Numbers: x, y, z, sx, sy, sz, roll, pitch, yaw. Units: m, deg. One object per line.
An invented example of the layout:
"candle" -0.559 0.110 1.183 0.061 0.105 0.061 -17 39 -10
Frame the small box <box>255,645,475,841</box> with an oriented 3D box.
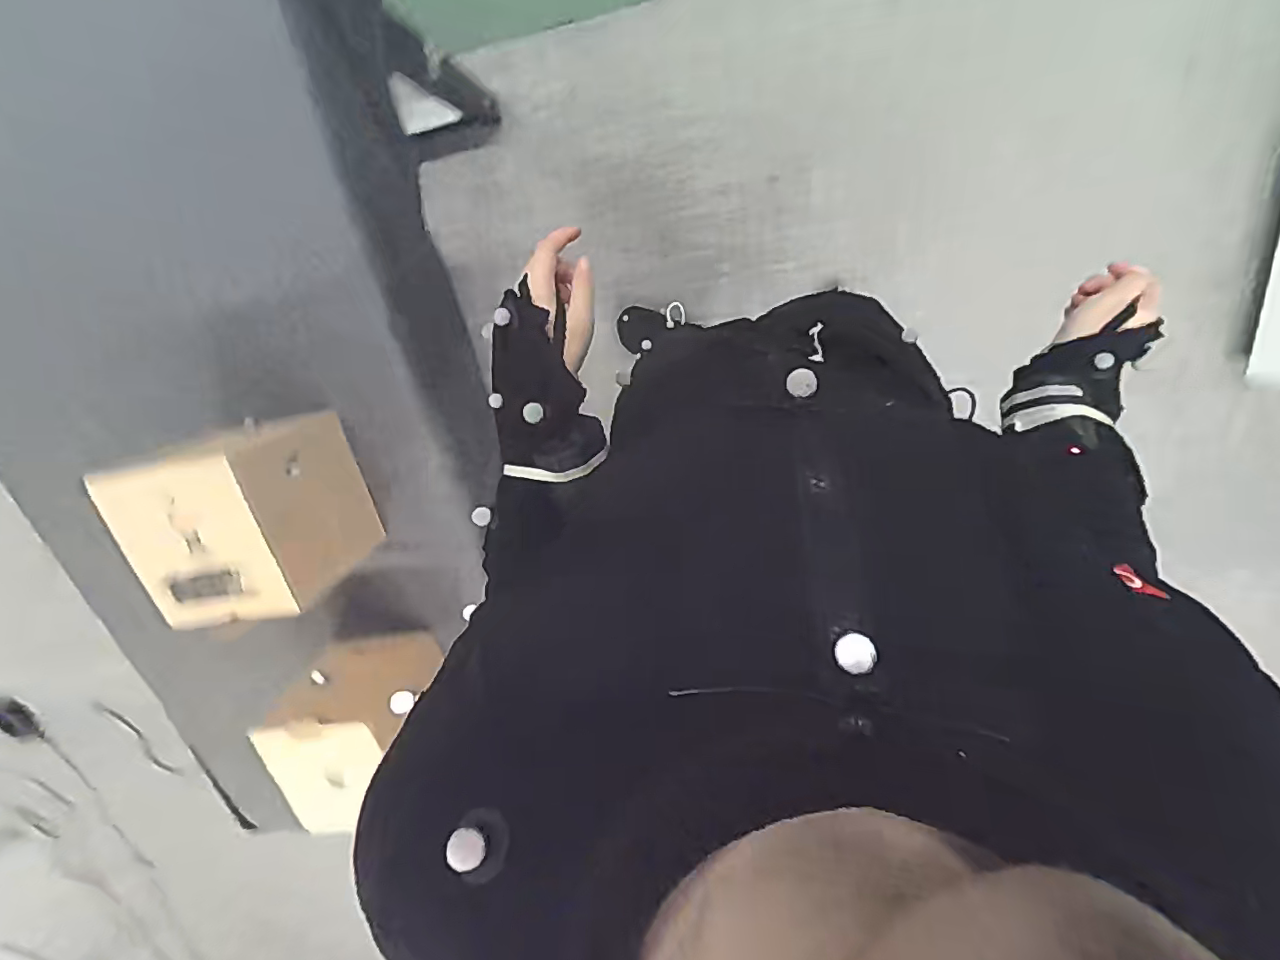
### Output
"small box" -0.349 0.341 0.725 0.168 0.176 0.179 -10 111 11
